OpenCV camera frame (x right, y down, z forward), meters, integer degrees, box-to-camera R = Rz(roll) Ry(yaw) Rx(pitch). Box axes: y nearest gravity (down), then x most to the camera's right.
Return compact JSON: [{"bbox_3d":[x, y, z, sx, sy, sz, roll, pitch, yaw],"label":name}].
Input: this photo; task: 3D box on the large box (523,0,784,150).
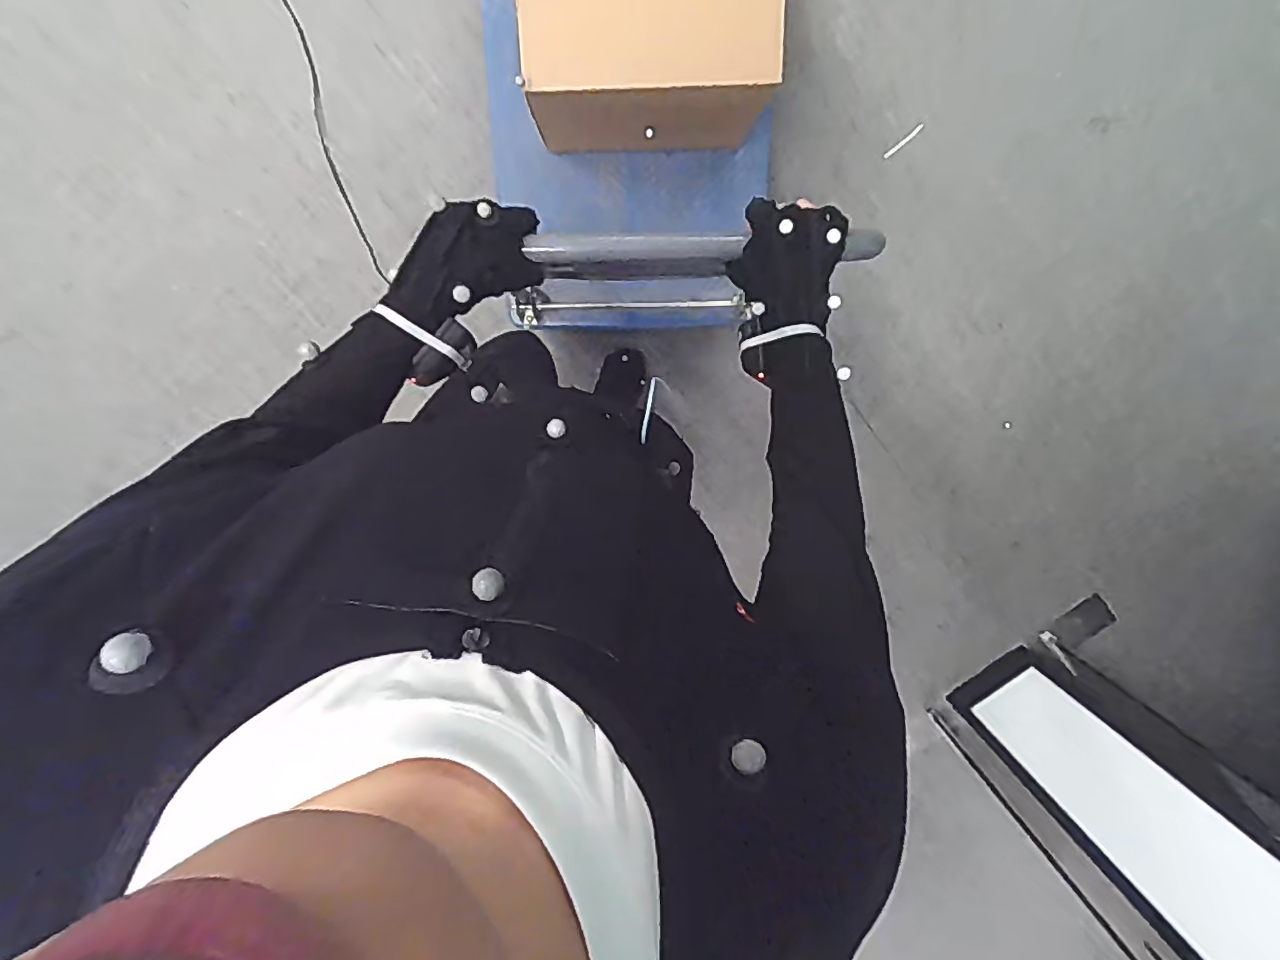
[{"bbox_3d":[0.018,-0.803,0.950,0.408,0.320,0.320,-3,106,-1],"label":"large box"}]
